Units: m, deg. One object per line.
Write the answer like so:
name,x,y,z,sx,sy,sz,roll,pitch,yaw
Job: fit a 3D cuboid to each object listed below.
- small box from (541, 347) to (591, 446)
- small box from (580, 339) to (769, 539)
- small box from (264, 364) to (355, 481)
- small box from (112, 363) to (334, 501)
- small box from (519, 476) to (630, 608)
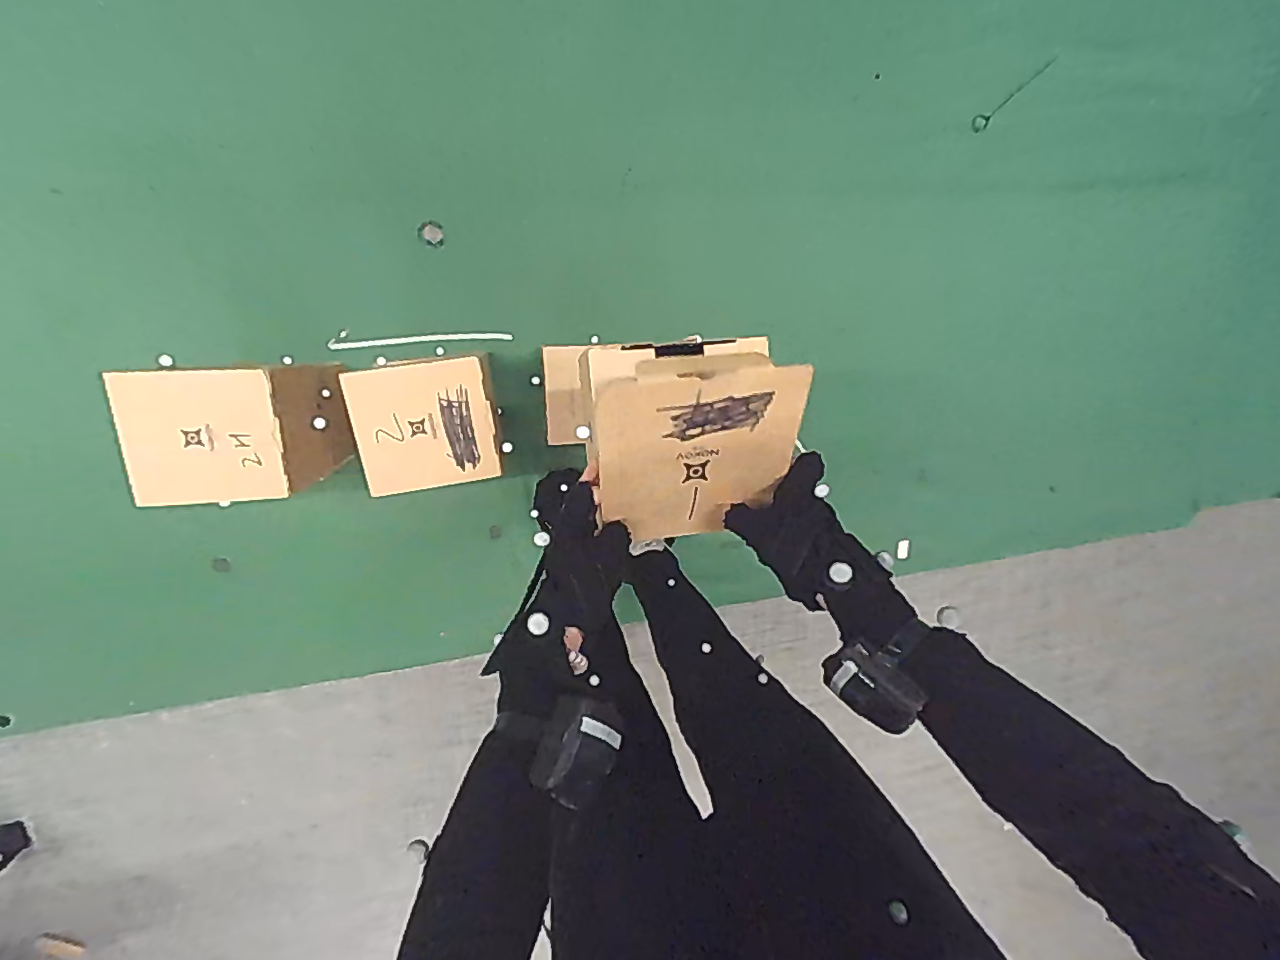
small box,-0.088,-0.159,0.996,0.179,0.176,0.168,-3,104,-11
small box,0.026,-0.048,0.573,0.168,0.176,0.179,-5,100,-8
small box,-0.593,-0.101,0.902,0.168,0.176,0.179,-2,103,-11
small box,-0.551,-0.073,0.744,0.179,0.176,0.168,-3,104,-11
small box,-0.123,0.120,1.077,0.179,0.176,0.168,29,110,-2
